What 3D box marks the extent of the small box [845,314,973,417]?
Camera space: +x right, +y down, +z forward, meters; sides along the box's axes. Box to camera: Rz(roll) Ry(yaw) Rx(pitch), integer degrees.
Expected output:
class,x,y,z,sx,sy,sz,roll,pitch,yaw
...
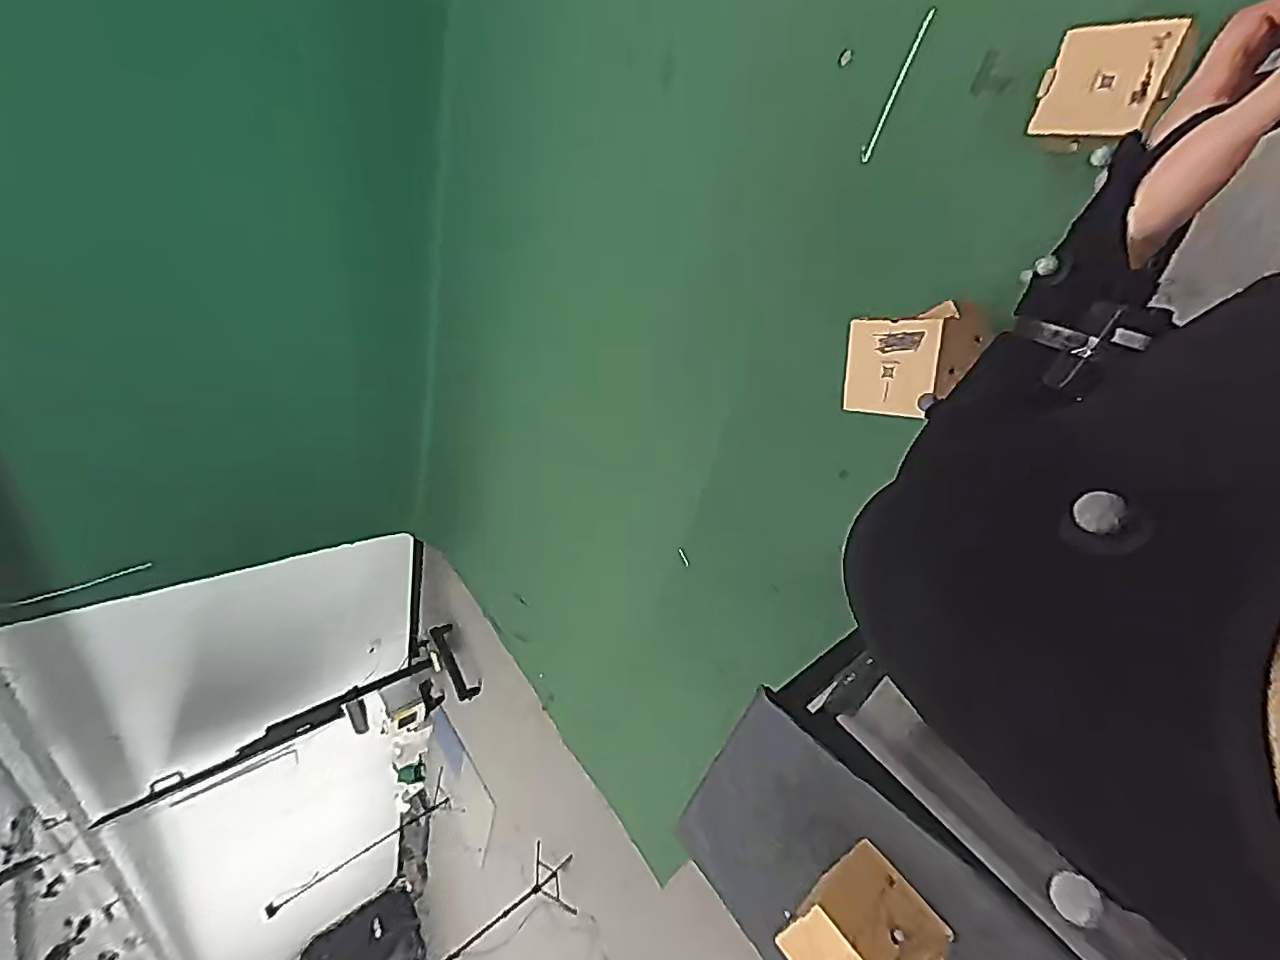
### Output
class,x,y,z,sx,sy,sz,roll,pitch,yaw
small box,0.517,-0.227,1.037,0.168,0.176,0.179,16,114,44

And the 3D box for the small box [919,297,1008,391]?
class,x,y,z,sx,sy,sz,roll,pitch,yaw
small box,0.639,-0.265,1.141,0.168,0.176,0.179,-27,80,47

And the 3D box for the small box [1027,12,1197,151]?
class,x,y,z,sx,sy,sz,roll,pitch,yaw
small box,0.868,-0.721,0.998,0.179,0.176,0.168,33,123,39

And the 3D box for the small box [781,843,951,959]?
class,x,y,z,sx,sy,sz,roll,pitch,yaw
small box,0.368,0.741,0.876,0.168,0.176,0.179,41,131,33
